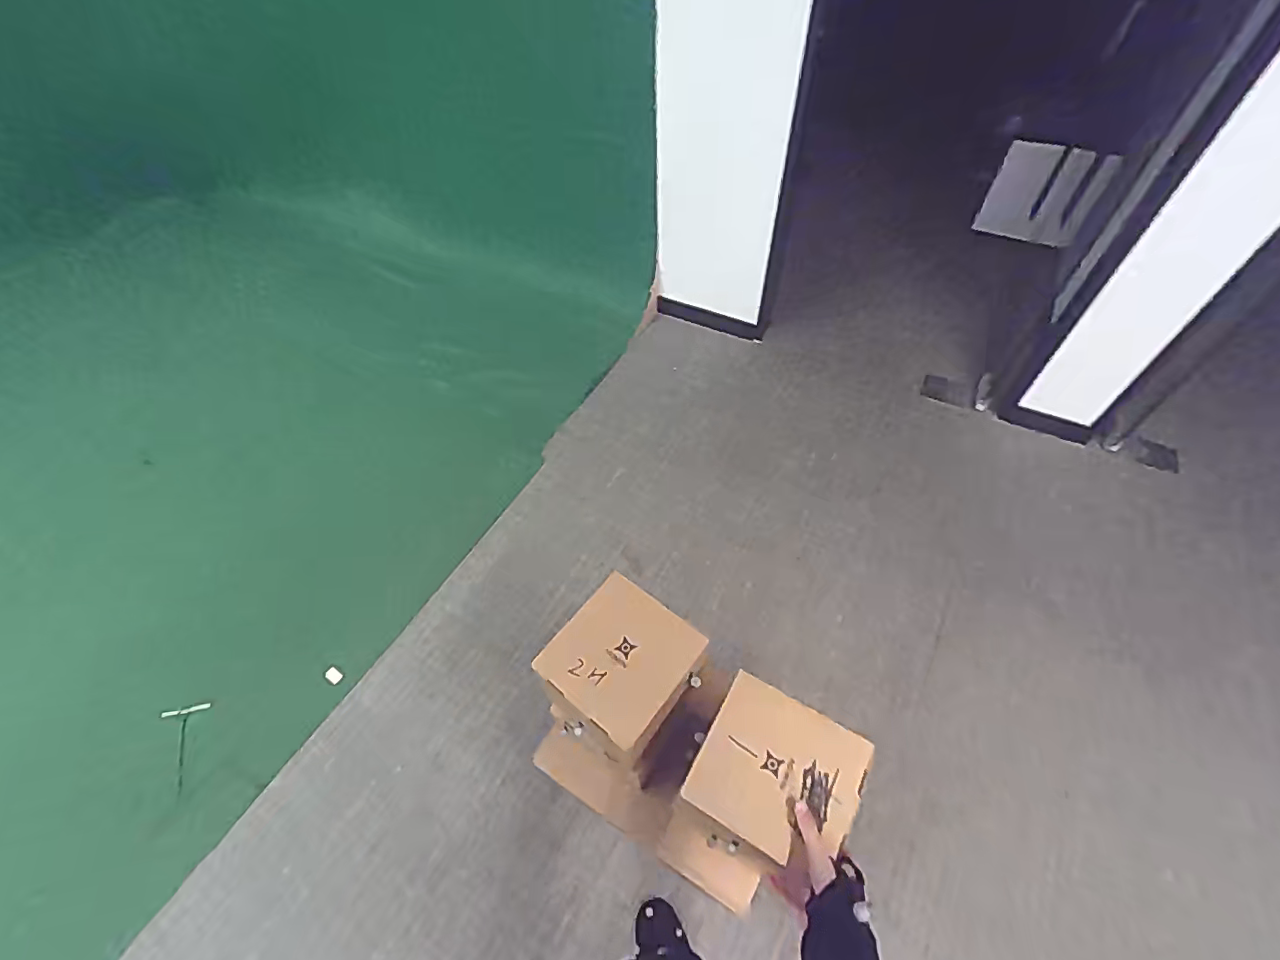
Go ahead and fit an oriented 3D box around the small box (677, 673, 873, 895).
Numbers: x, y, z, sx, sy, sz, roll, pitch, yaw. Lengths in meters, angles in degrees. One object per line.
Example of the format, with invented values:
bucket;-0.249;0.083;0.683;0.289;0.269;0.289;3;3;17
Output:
small box;0.161;0.381;0.686;0.179;0.176;0.168;25;59;20
